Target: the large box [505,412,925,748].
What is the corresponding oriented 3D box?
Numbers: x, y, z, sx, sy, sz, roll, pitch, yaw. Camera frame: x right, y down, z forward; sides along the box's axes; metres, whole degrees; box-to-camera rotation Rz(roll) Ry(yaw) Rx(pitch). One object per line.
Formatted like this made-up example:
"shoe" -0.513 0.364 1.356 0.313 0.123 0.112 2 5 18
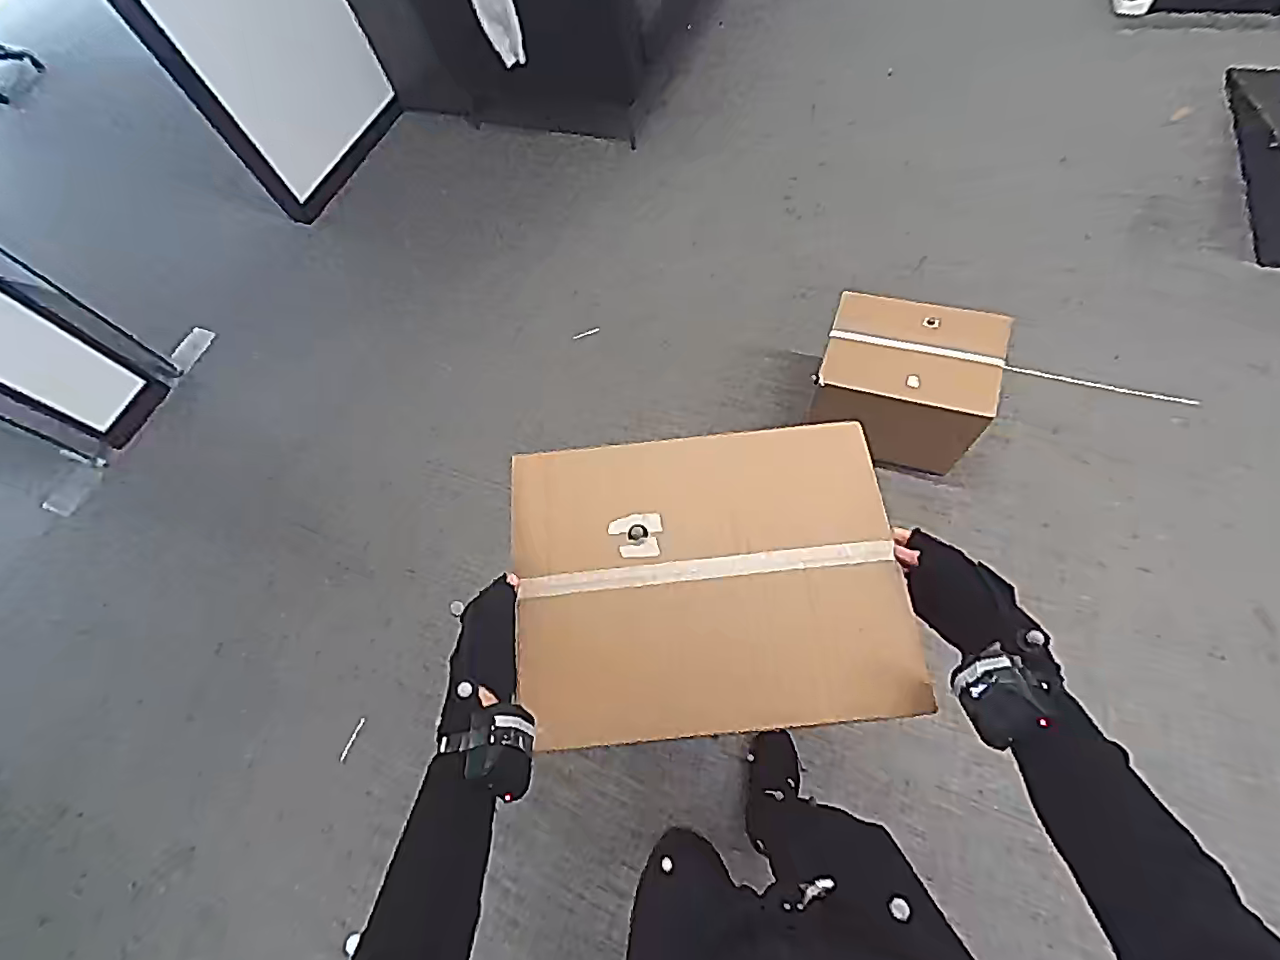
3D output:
"large box" 0.070 0.138 0.703 0.408 0.320 0.320 -7 69 1
